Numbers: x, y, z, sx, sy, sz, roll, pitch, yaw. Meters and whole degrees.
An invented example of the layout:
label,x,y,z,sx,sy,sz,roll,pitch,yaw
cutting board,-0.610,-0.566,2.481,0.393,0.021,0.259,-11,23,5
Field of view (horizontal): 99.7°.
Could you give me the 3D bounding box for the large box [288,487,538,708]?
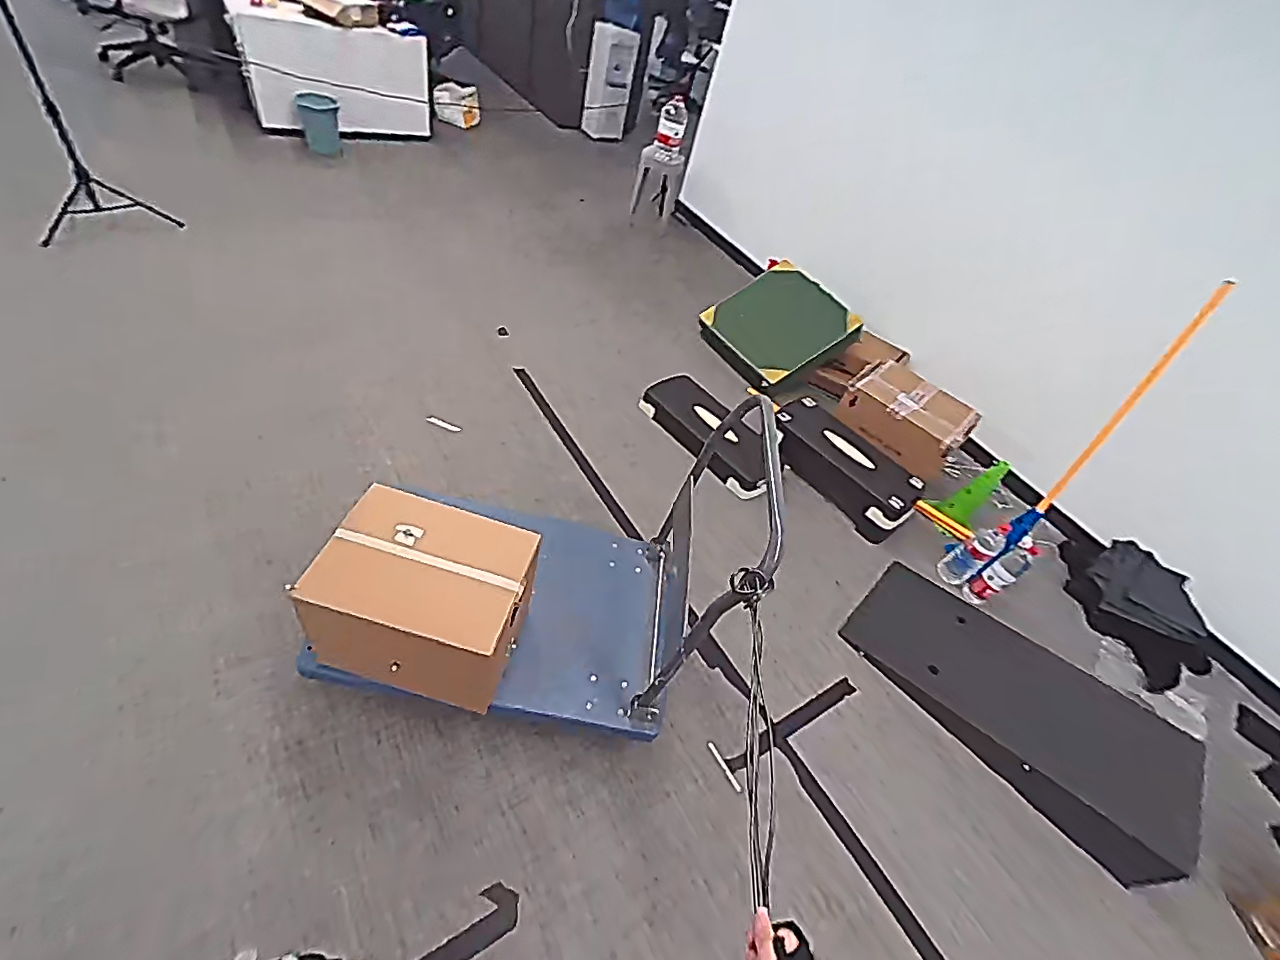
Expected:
label,x,y,z,sx,sy,sz,roll,pitch,yaw
large box,-0.479,0.273,1.234,0.408,0.320,0.320,17,44,-2
